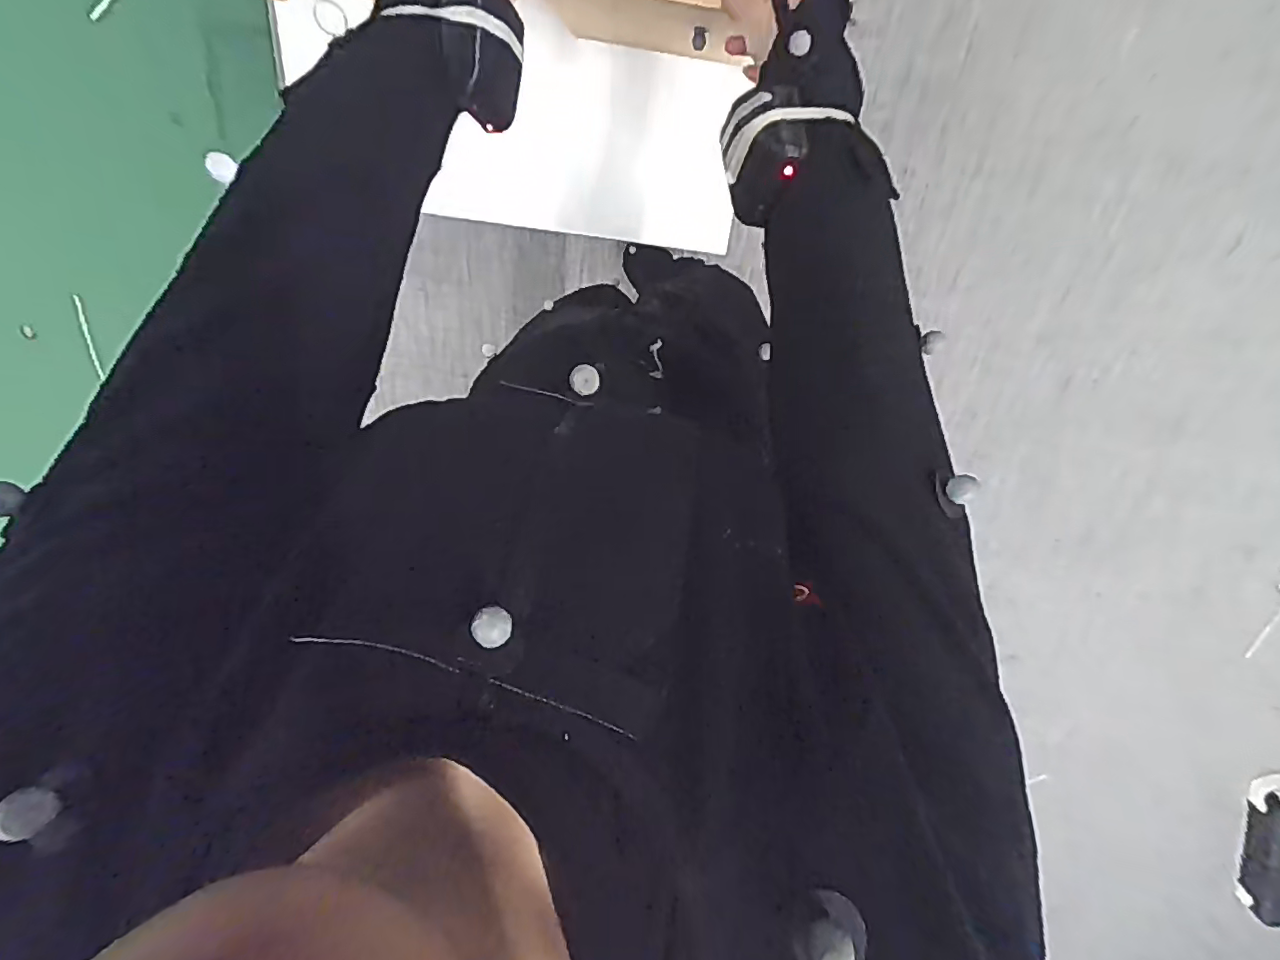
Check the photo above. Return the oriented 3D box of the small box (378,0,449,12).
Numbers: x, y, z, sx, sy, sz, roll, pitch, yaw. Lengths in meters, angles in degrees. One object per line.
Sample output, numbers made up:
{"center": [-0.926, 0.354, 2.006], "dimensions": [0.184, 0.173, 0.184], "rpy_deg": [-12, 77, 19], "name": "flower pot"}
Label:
{"center": [-0.261, -0.525, 0.435], "dimensions": [0.168, 0.176, 0.179], "rpy_deg": [11, 118, 0], "name": "small box"}
